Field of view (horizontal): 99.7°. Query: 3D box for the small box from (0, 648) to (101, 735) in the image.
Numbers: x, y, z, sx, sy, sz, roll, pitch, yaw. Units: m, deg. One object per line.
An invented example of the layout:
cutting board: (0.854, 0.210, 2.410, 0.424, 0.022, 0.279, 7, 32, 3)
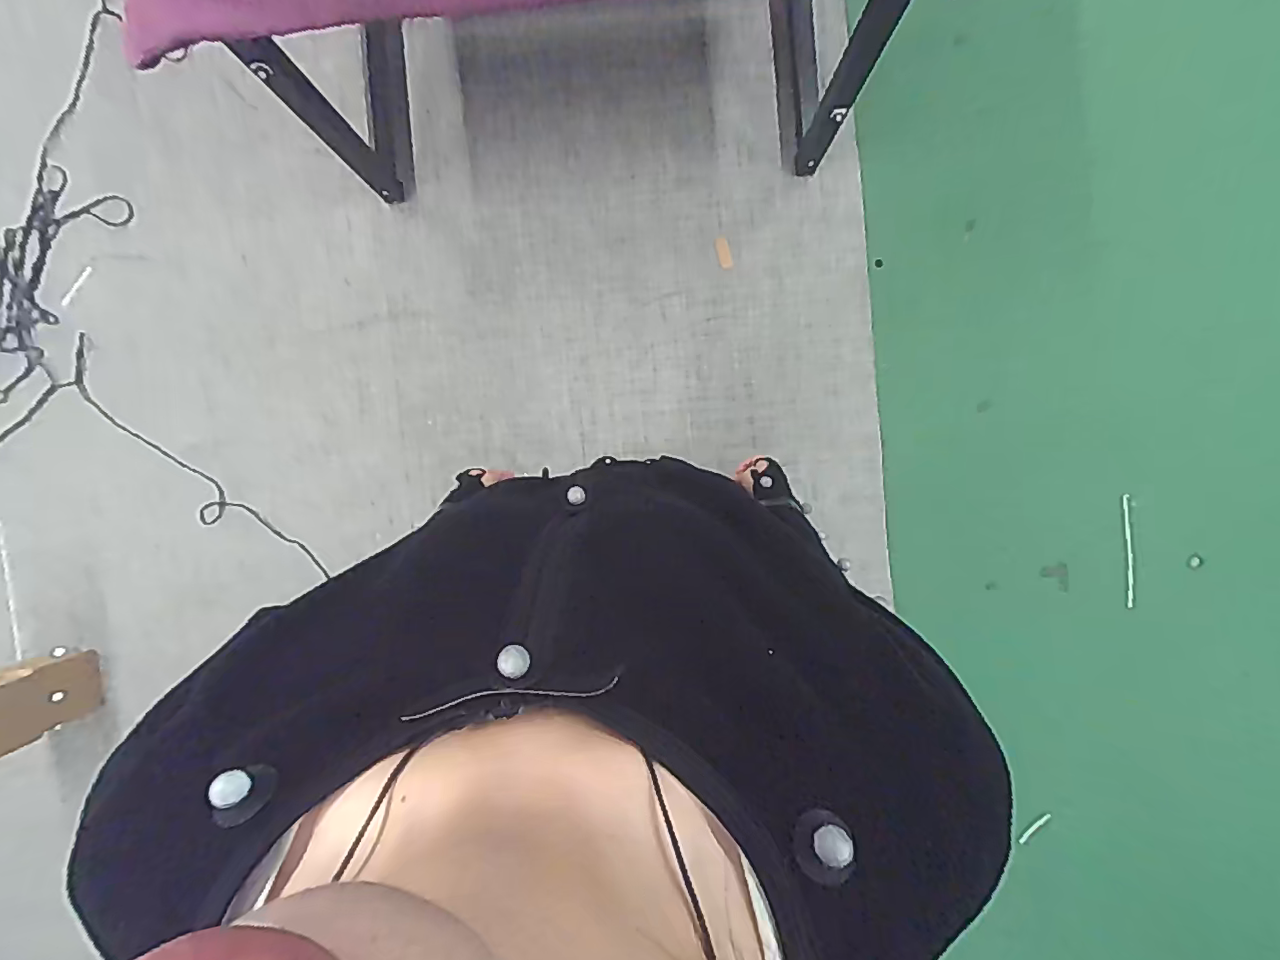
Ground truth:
small box: (-1.639, 0.579, 1.479, 0.168, 0.176, 0.179, -6, 92, 1)

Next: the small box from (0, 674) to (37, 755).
small box: (-1.641, 0.595, 1.316, 0.168, 0.176, 0.179, -6, 92, 0)
